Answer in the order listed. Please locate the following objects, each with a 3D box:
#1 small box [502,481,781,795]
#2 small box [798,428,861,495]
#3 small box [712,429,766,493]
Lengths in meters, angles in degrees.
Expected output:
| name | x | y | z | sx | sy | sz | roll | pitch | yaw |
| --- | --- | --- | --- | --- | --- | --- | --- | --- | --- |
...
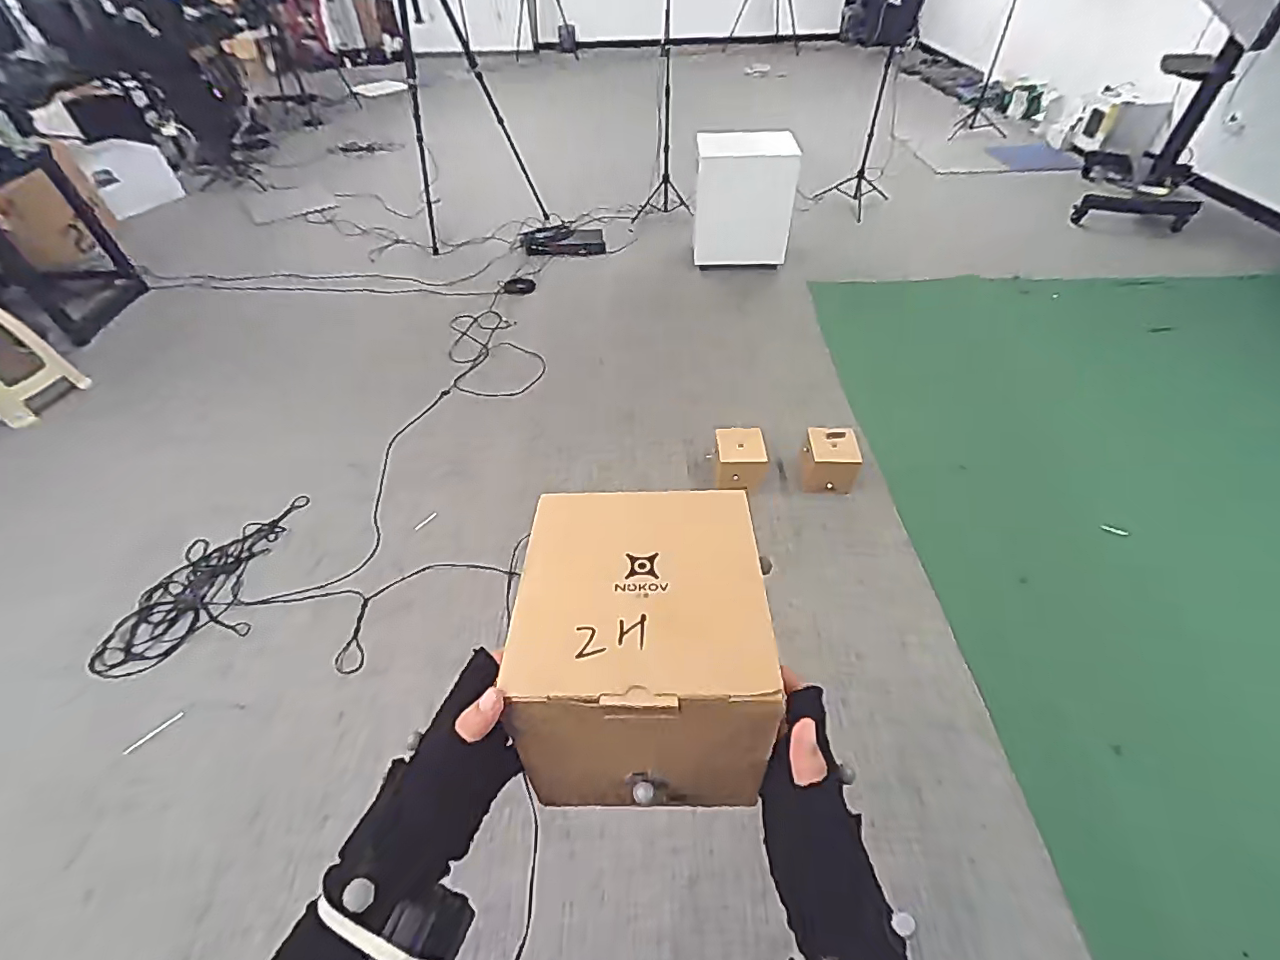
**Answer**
| name | x | y | z | sx | sy | sz | roll | pitch | yaw |
| --- | --- | --- | --- | --- | --- | --- | --- | --- | --- |
| small box | 0.005 | 0.119 | 0.425 | 0.168 | 0.176 | 0.179 | -2 | 40 | 2 |
| small box | 0.682 | -0.067 | 1.967 | 0.168 | 0.176 | 0.179 | 1 | 48 | 3 |
| small box | 0.356 | -0.064 | 1.974 | 0.168 | 0.176 | 0.179 | -2 | 46 | 0 |
